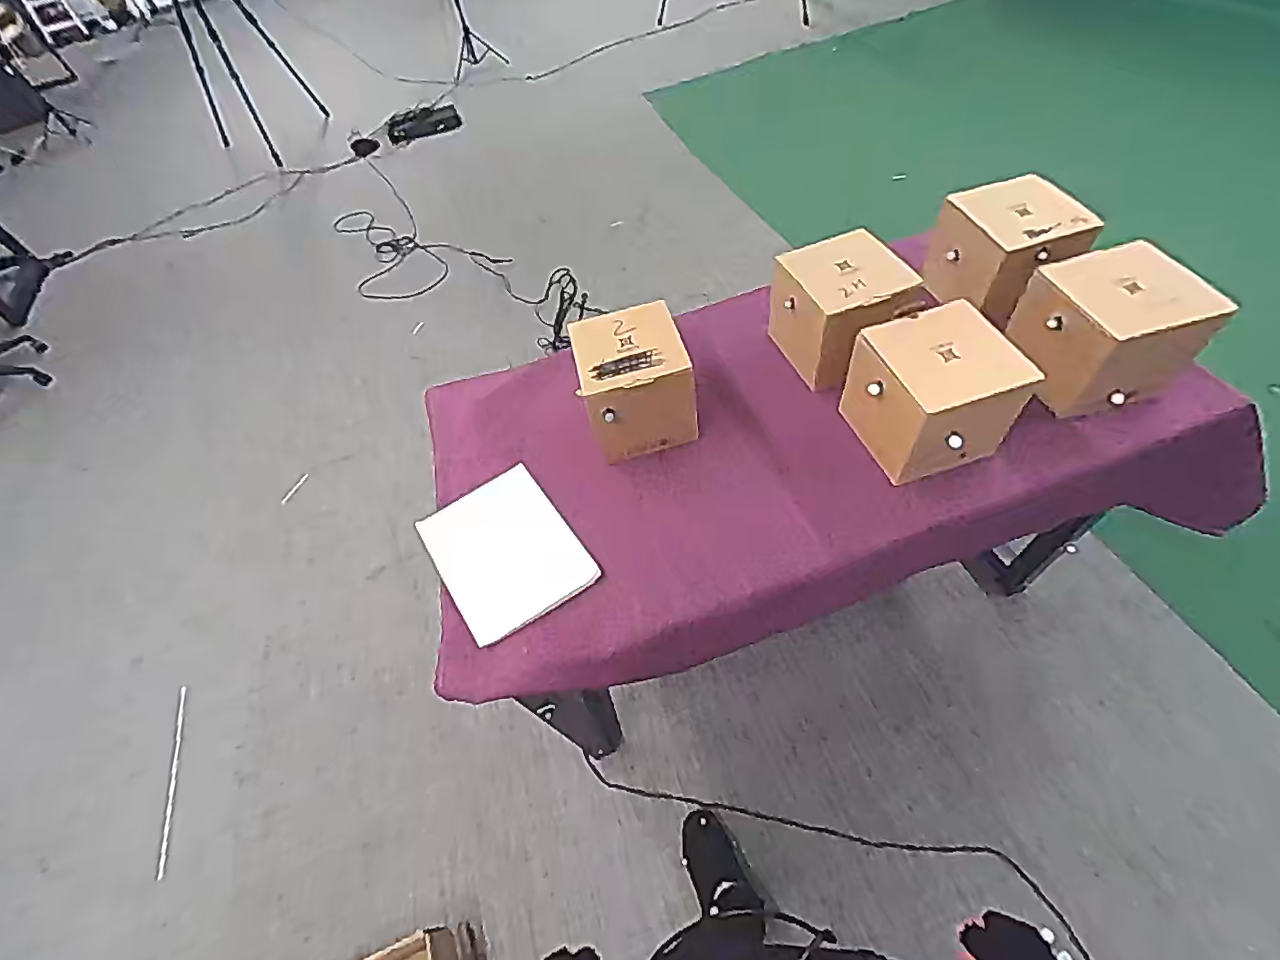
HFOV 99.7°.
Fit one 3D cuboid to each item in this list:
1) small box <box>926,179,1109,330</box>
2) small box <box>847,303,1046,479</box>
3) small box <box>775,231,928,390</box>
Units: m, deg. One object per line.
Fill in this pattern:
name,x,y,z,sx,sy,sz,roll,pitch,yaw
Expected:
small box,0.637,-0.387,0.944,0.168,0.176,0.179,-15,54,-1
small box,0.429,-0.121,0.794,0.168,0.176,0.179,-17,55,-2
small box,0.342,-0.285,0.920,0.168,0.176,0.179,-19,56,-4
